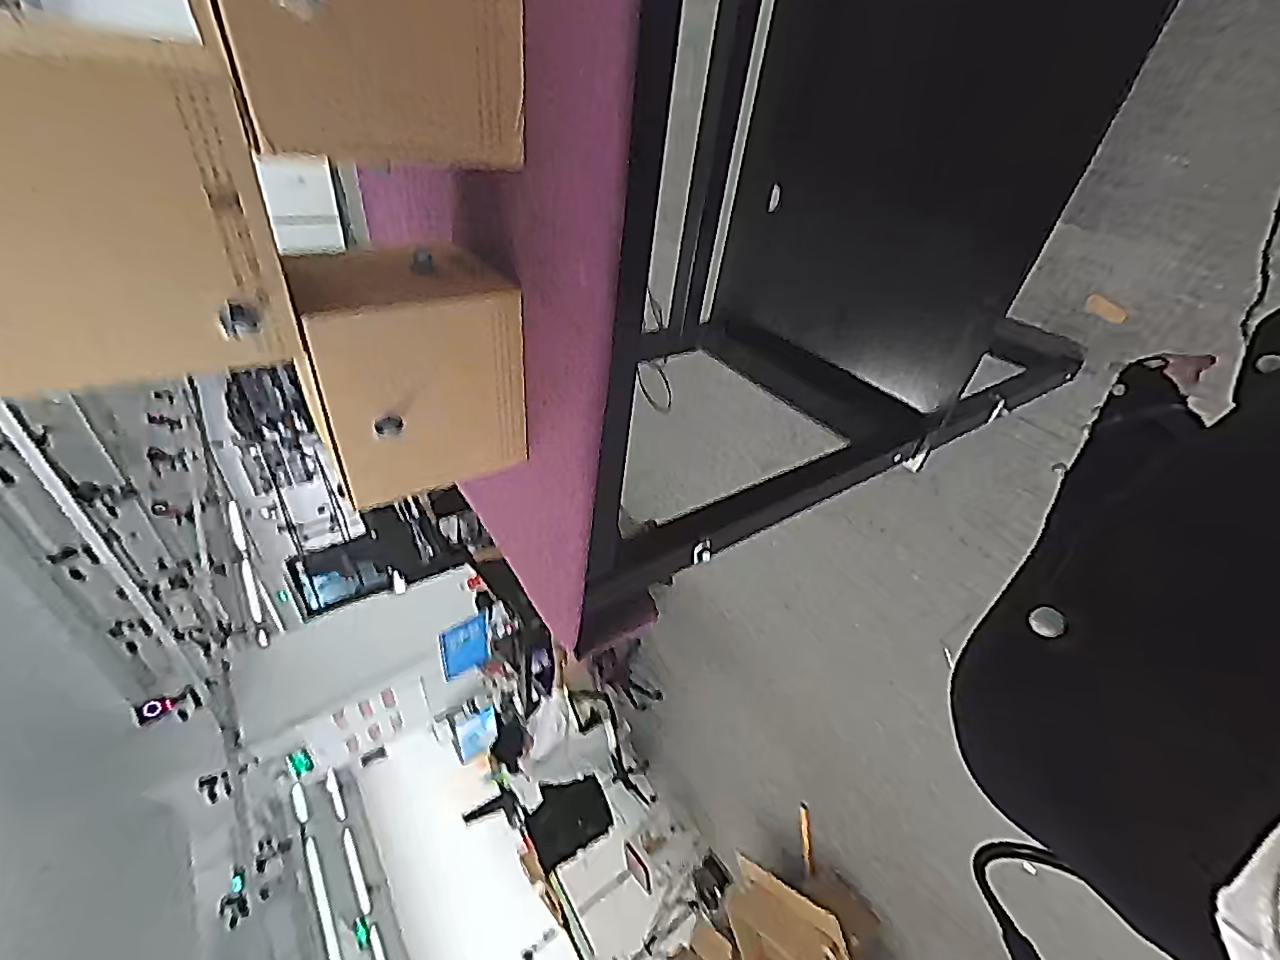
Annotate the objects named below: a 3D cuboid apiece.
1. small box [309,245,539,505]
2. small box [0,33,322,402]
[{"bbox_3d":[-0.206,-0.110,0.521,0.168,0.176,0.179,42,140,38],"label":"small box"},{"bbox_3d":[-0.326,-0.178,0.355,0.179,0.176,0.168,47,141,36],"label":"small box"}]
